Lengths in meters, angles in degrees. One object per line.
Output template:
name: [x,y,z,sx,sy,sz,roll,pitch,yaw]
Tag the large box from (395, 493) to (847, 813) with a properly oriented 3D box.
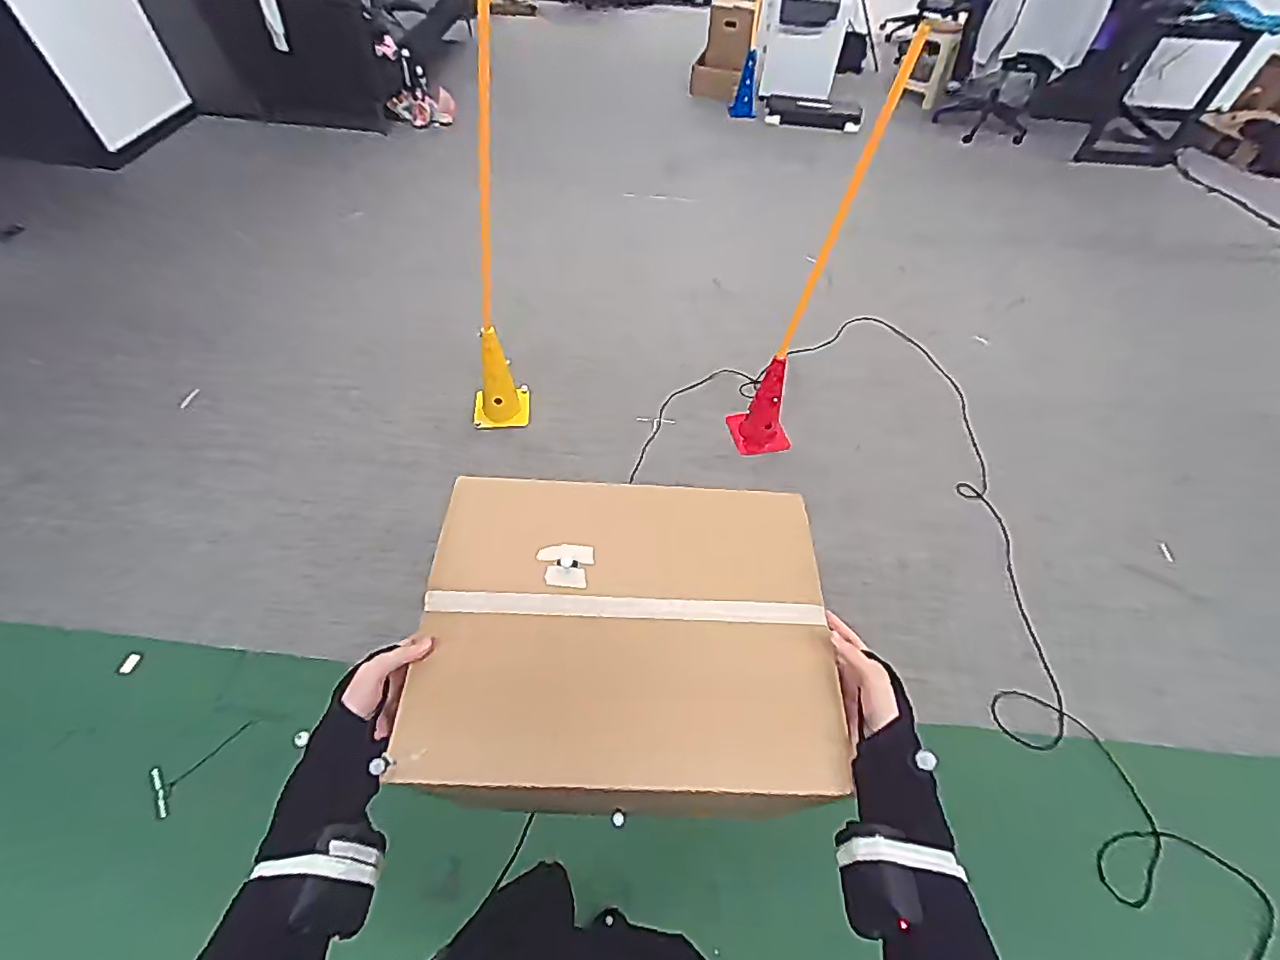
large box: [-0.018,0.229,0.677,0.408,0.320,0.320,2,54,-2]
